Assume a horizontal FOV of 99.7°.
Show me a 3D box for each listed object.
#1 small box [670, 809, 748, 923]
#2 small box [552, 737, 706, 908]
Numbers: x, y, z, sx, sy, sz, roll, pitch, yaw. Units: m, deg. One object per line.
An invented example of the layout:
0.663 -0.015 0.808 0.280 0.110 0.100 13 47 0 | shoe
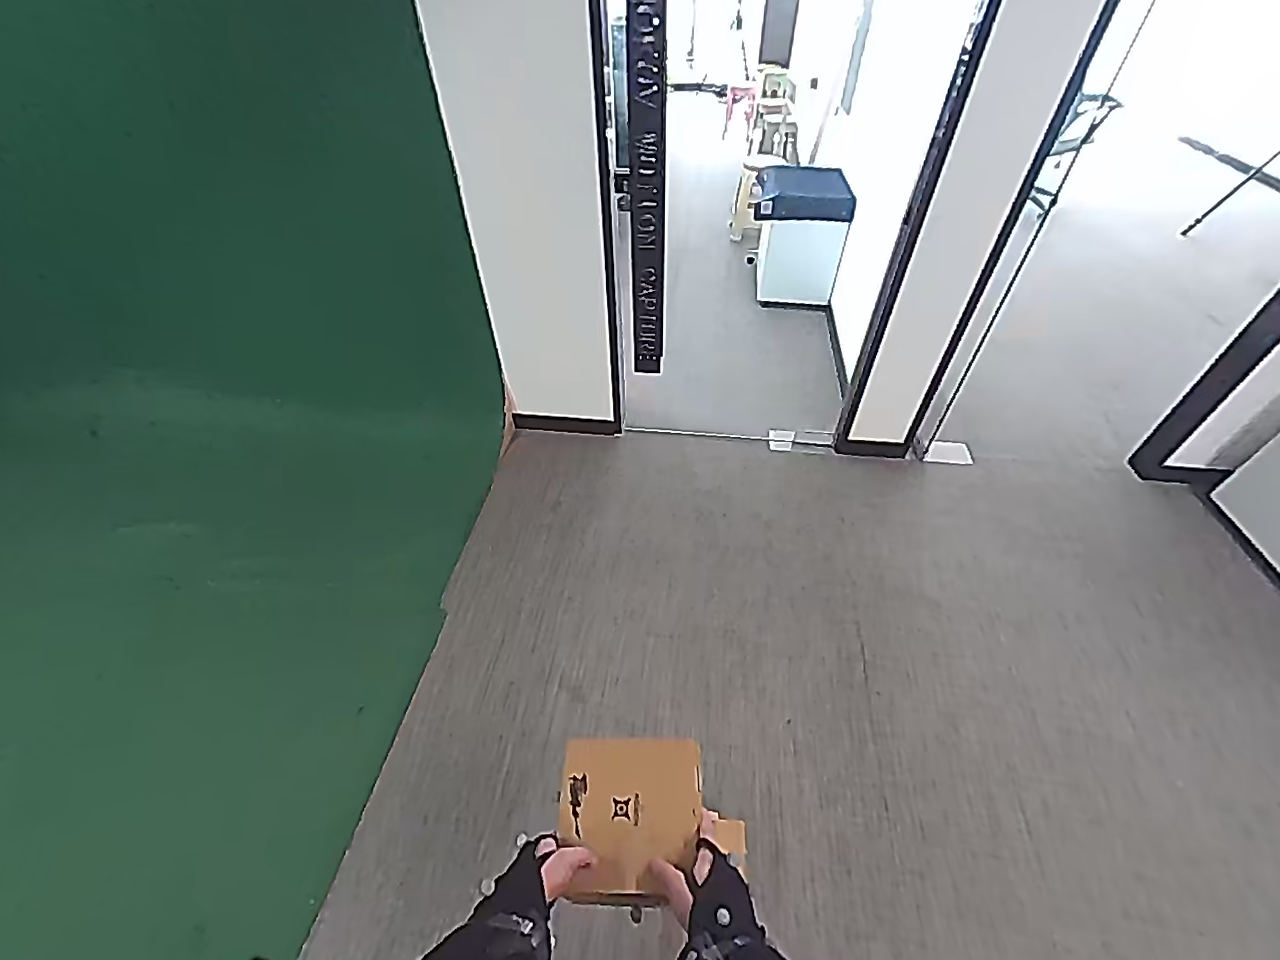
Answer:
0.148 0.867 1.222 0.168 0.176 0.179 6 47 9 | small box
-0.005 0.456 0.719 0.179 0.176 0.168 -1 48 5 | small box
